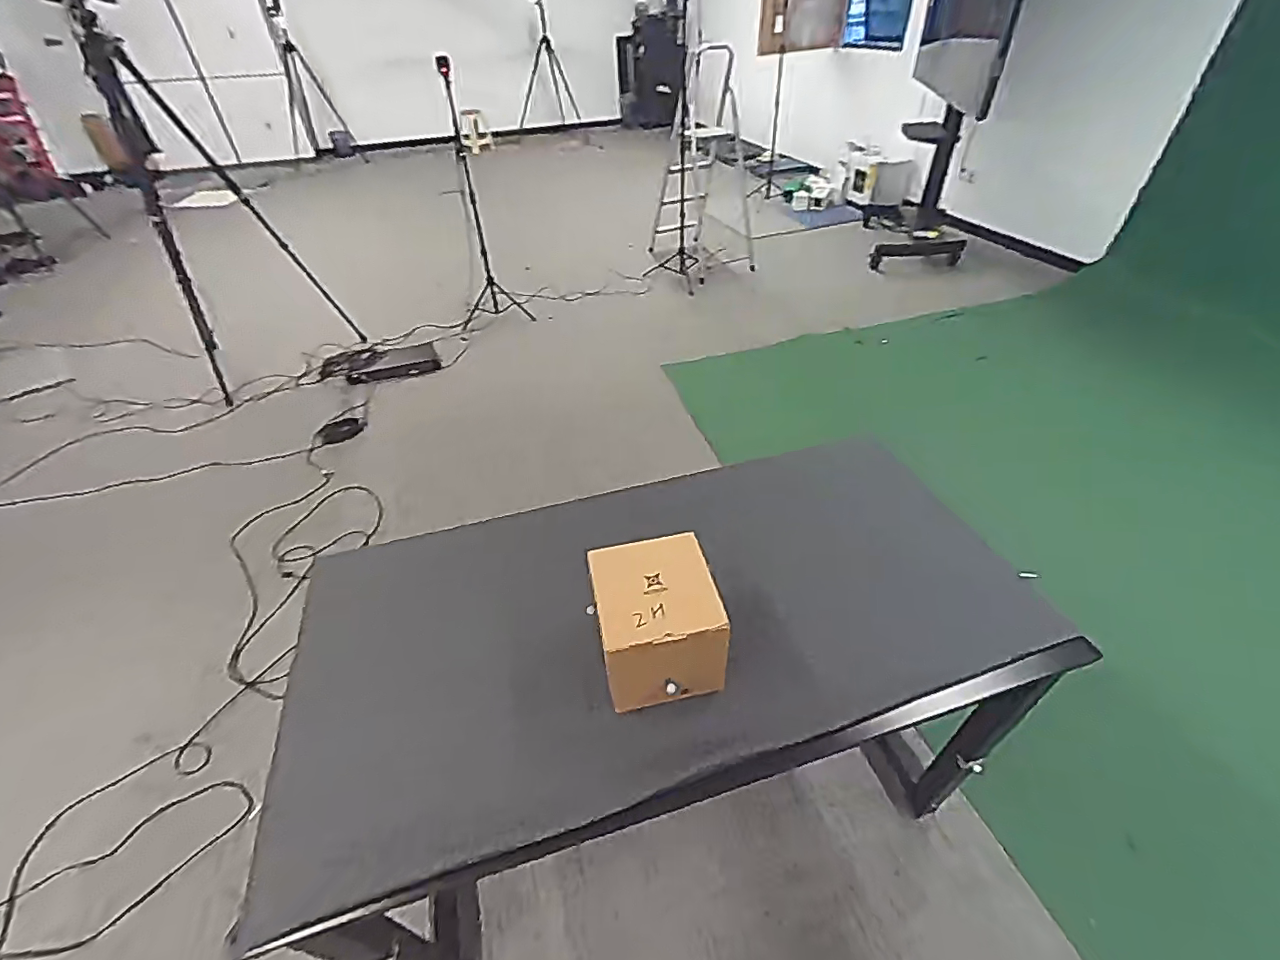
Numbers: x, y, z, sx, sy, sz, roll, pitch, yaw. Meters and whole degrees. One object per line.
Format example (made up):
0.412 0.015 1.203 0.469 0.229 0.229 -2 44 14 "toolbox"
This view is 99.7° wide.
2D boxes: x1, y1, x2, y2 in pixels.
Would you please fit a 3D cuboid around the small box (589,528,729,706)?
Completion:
0.021 0.200 0.799 0.168 0.176 0.179 -10 41 -7 "small box"
